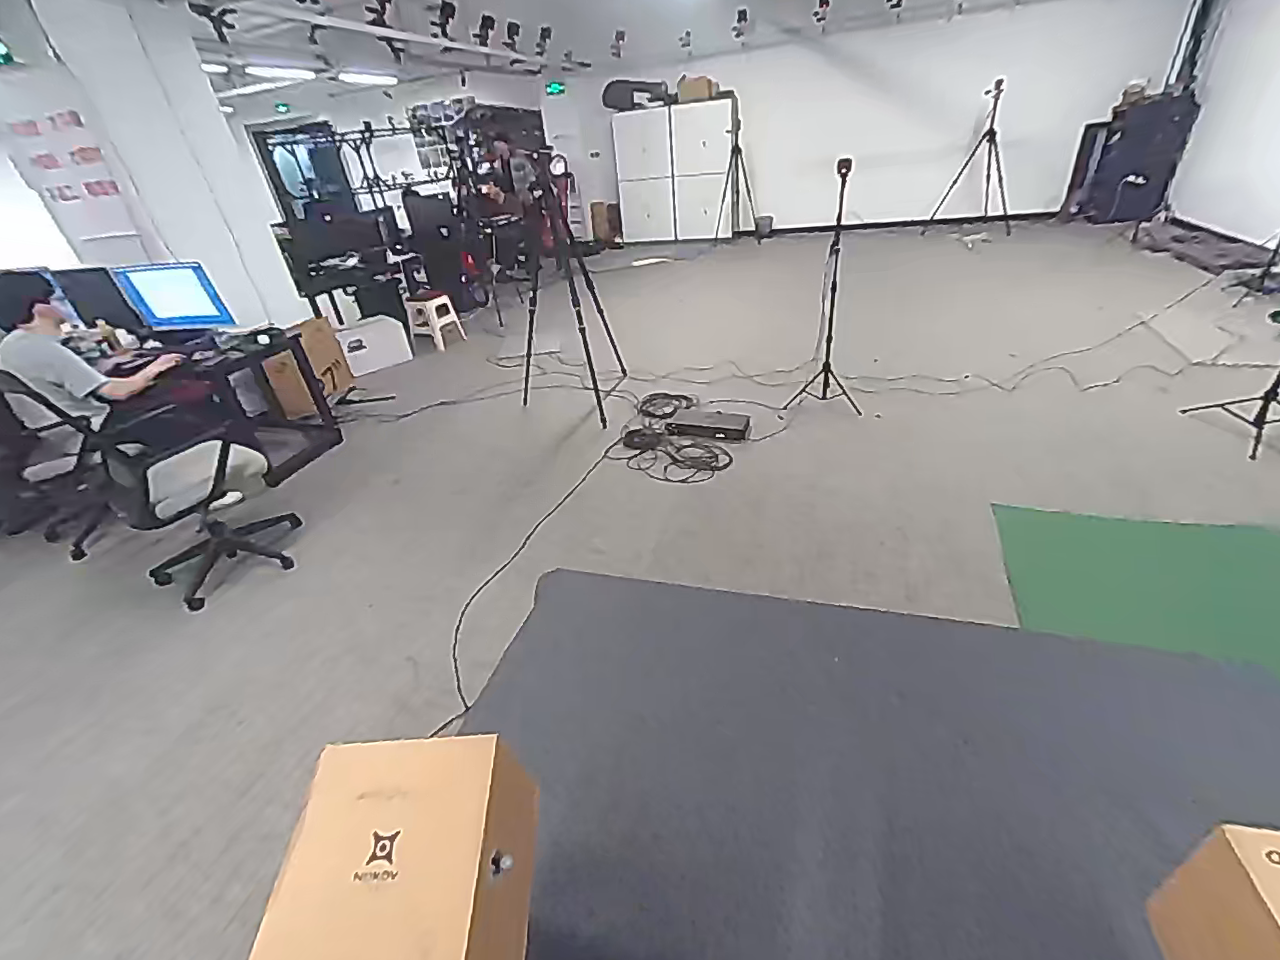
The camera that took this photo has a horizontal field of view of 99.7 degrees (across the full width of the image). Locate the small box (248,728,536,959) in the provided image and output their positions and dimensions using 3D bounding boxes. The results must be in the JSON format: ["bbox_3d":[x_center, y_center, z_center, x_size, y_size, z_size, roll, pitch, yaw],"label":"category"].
[{"bbox_3d":[-0.198,0.347,0.490,0.168,0.176,0.179,-5,46,2],"label":"small box"}]
